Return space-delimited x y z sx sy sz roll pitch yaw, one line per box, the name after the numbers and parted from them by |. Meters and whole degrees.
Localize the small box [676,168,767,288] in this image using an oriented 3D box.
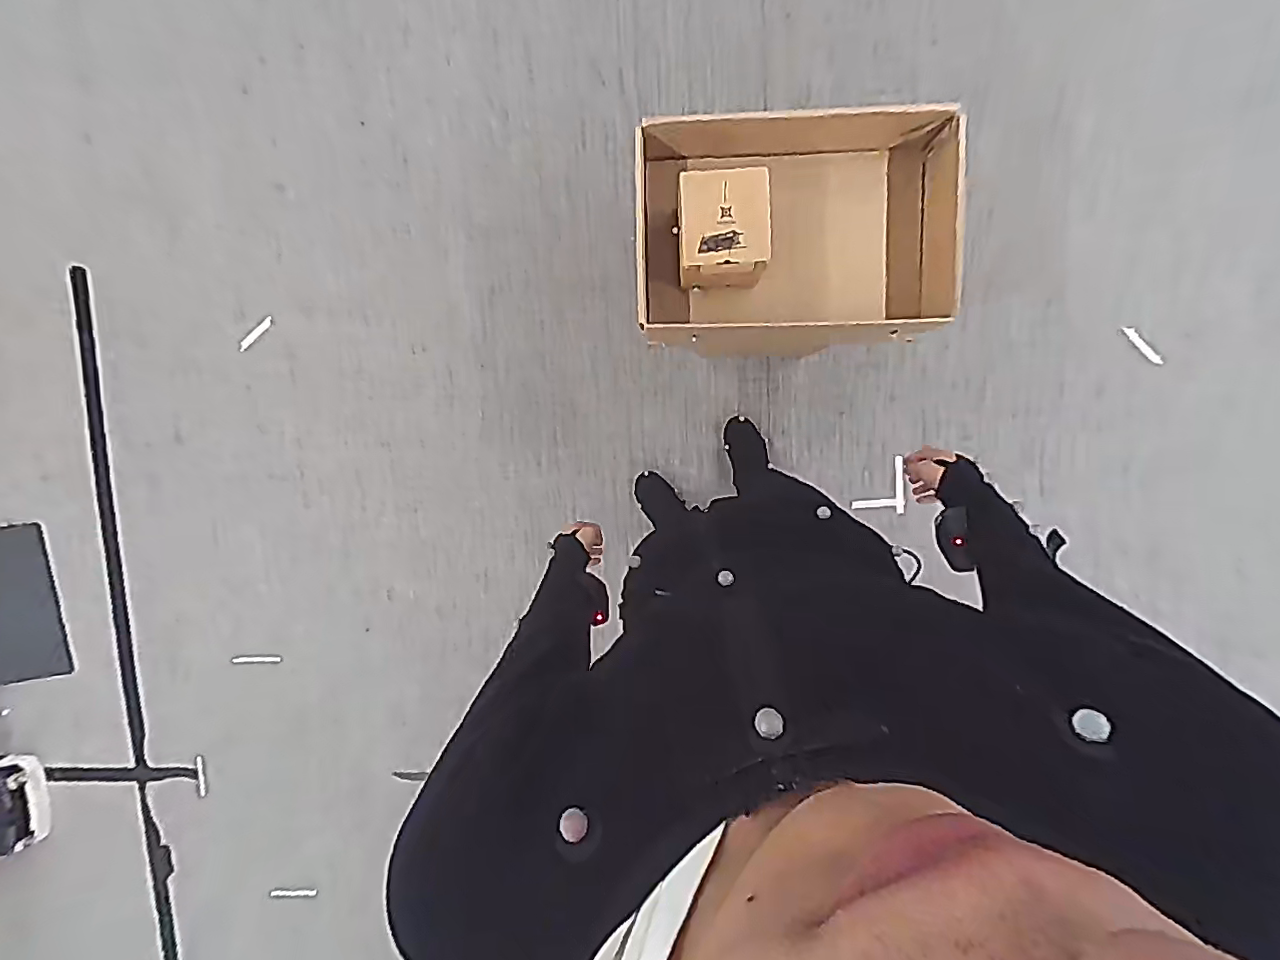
0.158 -0.493 1.085 0.168 0.176 0.179 -2 94 2 | small box
